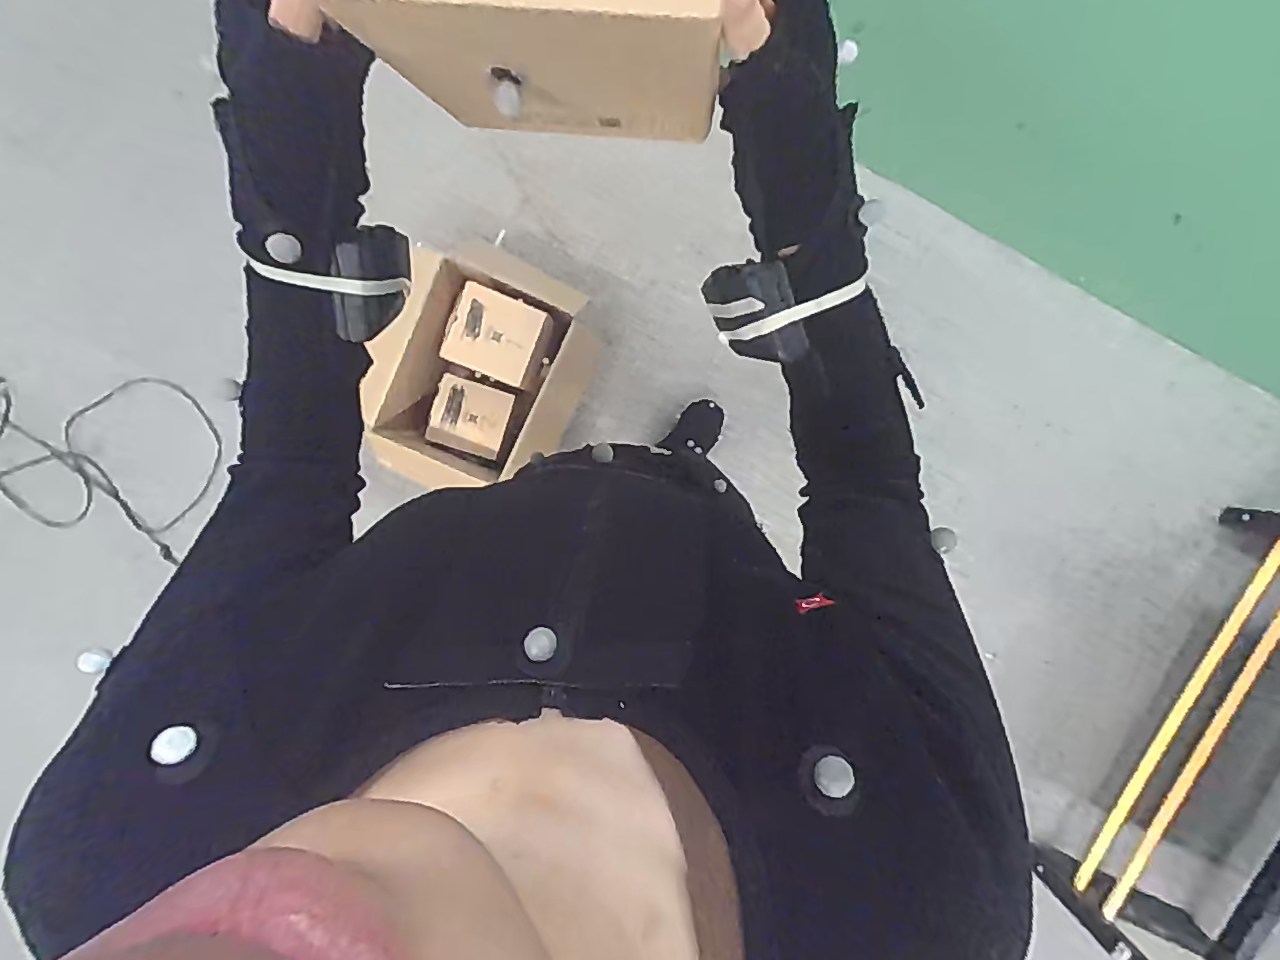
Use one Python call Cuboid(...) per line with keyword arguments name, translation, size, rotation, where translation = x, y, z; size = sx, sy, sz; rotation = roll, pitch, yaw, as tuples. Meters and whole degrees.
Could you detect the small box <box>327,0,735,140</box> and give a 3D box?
Cuboid(name="small box", translation=(-0.031, -0.284, 0.255), size=(0.168, 0.176, 0.179), rotation=(6, 107, 3))
